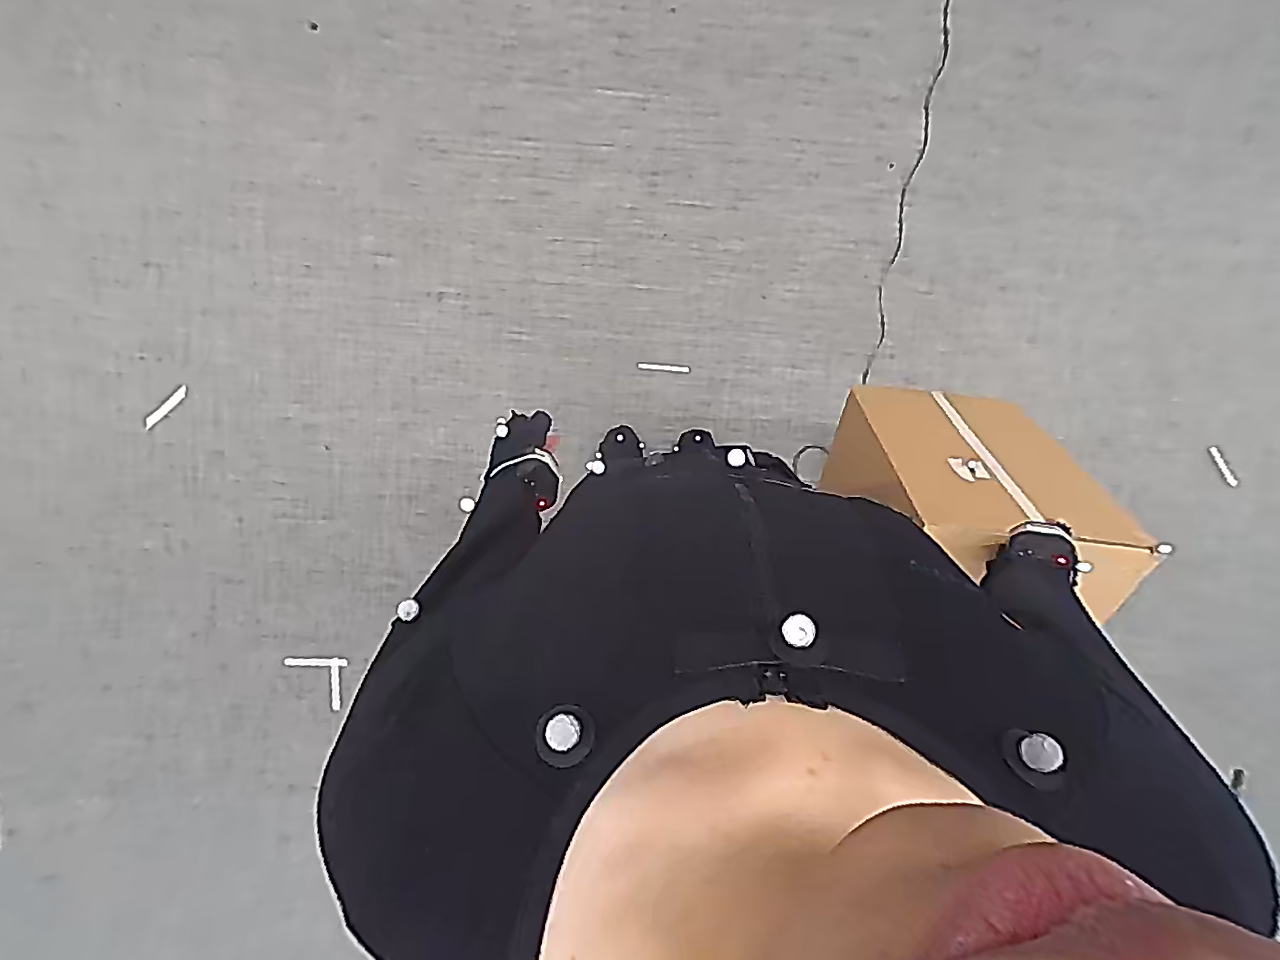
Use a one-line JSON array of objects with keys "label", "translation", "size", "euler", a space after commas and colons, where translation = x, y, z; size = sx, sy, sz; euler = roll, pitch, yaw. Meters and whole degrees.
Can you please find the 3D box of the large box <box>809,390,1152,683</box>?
[{"label": "large box", "translation": [0.526, 0.083, 0.961], "size": [0.320, 0.408, 0.320], "euler": [6, 127, 1]}]
